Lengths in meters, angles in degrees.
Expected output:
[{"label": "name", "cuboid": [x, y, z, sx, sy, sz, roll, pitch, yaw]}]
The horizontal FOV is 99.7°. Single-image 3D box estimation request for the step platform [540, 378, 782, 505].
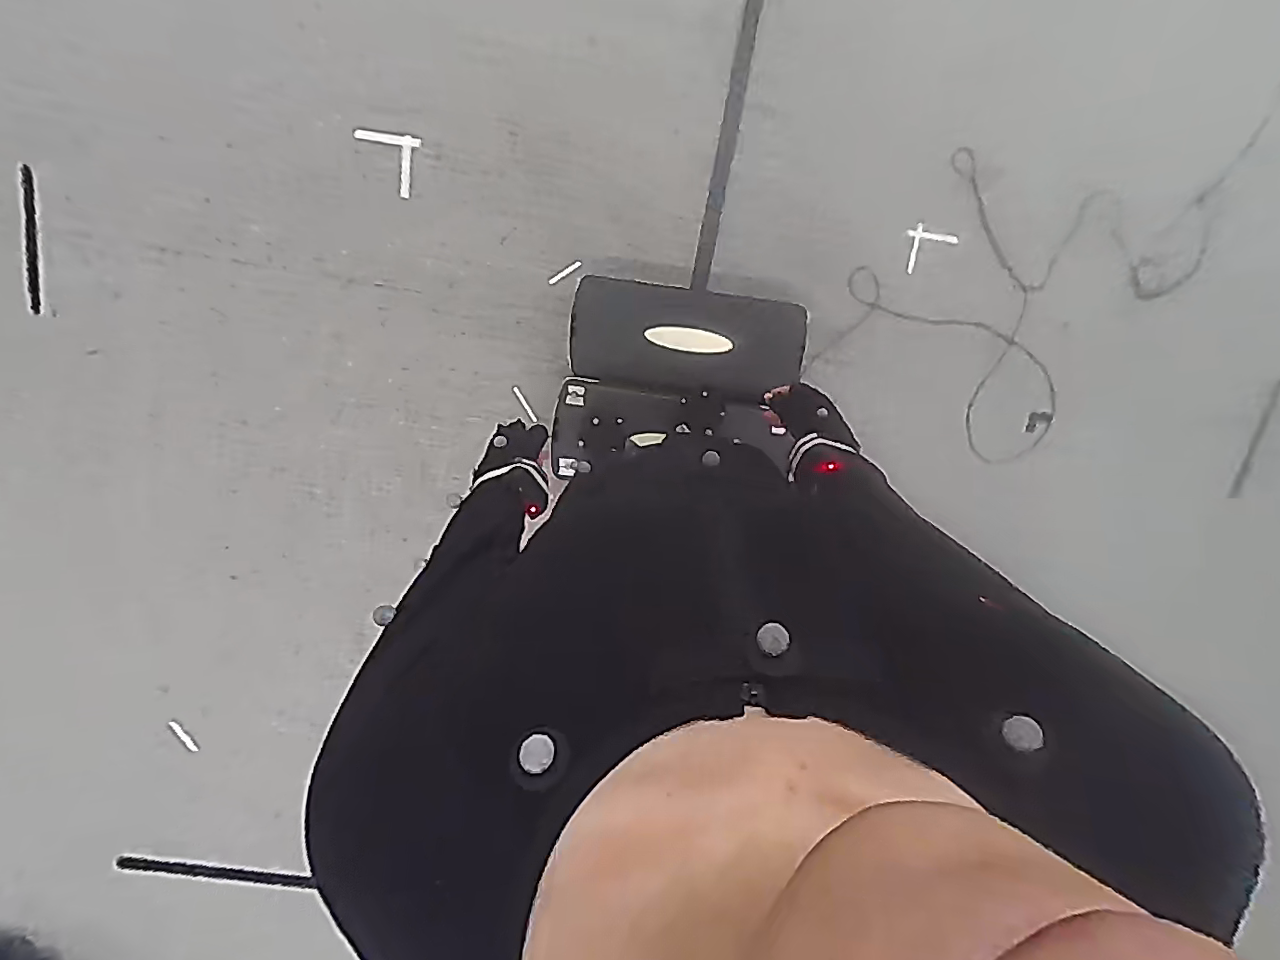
[{"label": "step platform", "cuboid": [0.058, -0.111, 1.564, 0.684, 0.204, 0.286, 7, 100, -2]}]
